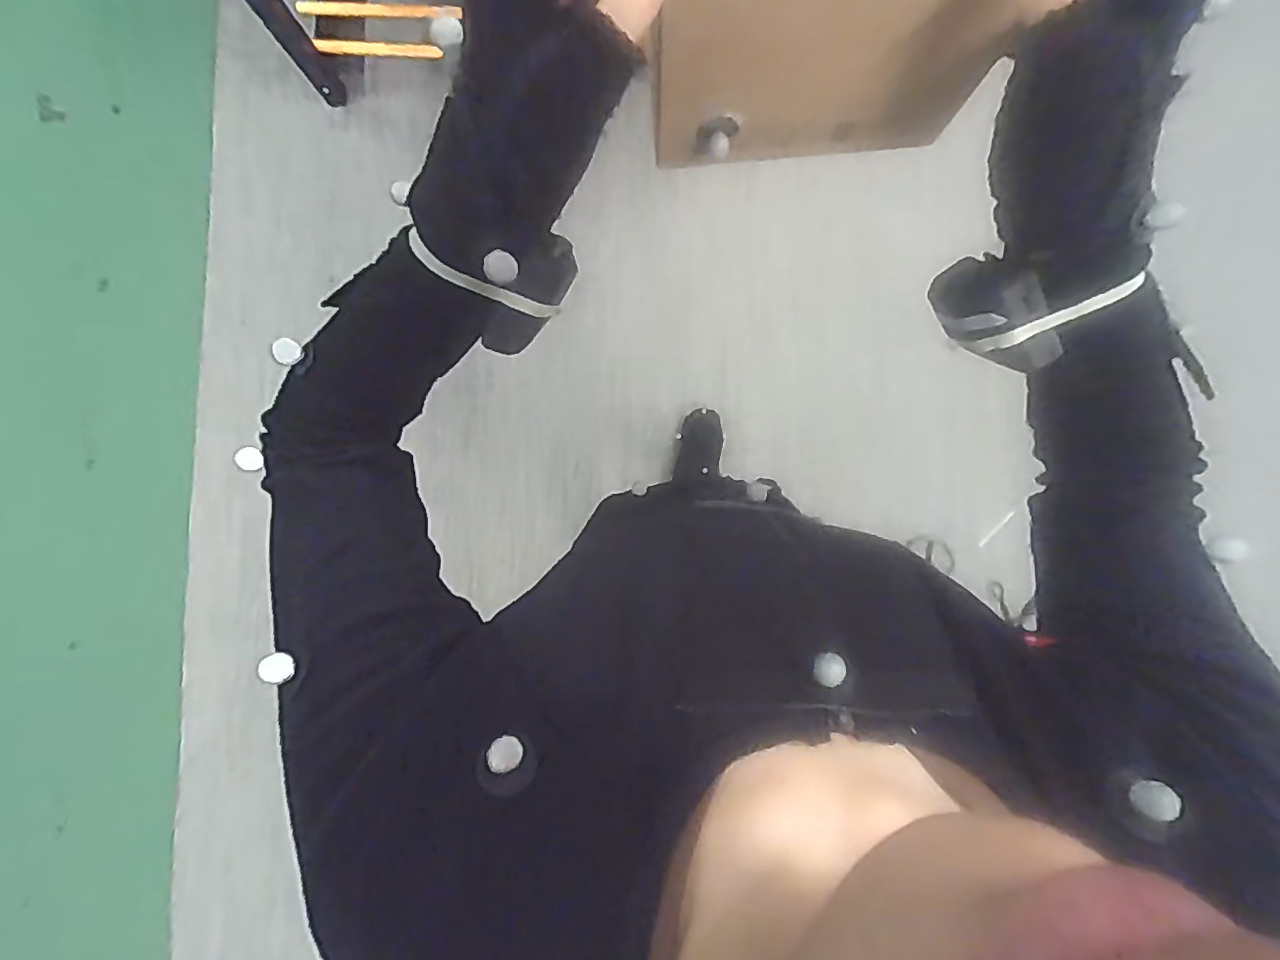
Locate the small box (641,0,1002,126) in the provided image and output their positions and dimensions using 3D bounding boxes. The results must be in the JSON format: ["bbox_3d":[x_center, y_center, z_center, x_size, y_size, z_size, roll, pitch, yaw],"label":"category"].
[{"bbox_3d":[0.082,-0.291,0.240,0.168,0.176,0.179,-5,85,1],"label":"small box"}]
